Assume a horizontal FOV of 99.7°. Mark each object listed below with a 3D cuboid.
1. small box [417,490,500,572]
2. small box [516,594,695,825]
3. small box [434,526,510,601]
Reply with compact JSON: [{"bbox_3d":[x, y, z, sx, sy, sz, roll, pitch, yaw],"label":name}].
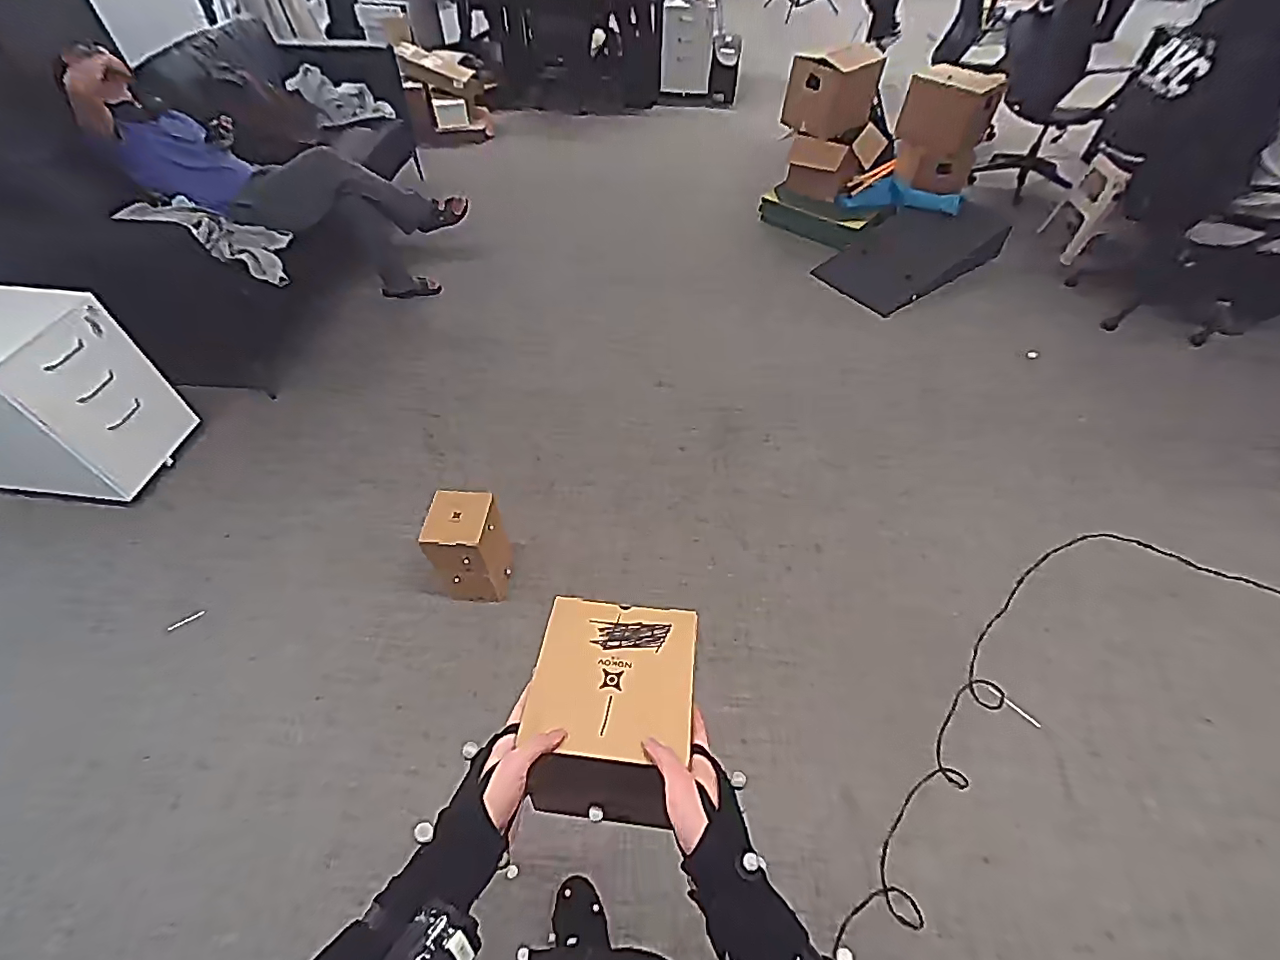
[{"bbox_3d":[-0.511,0.149,1.549,0.168,0.176,0.179,3,50,1],"label":"small box"},{"bbox_3d":[-0.030,0.258,0.616,0.168,0.176,0.179,5,41,5],"label":"small box"},{"bbox_3d":[-0.511,0.251,1.675,0.168,0.176,0.179,4,51,3],"label":"small box"}]
